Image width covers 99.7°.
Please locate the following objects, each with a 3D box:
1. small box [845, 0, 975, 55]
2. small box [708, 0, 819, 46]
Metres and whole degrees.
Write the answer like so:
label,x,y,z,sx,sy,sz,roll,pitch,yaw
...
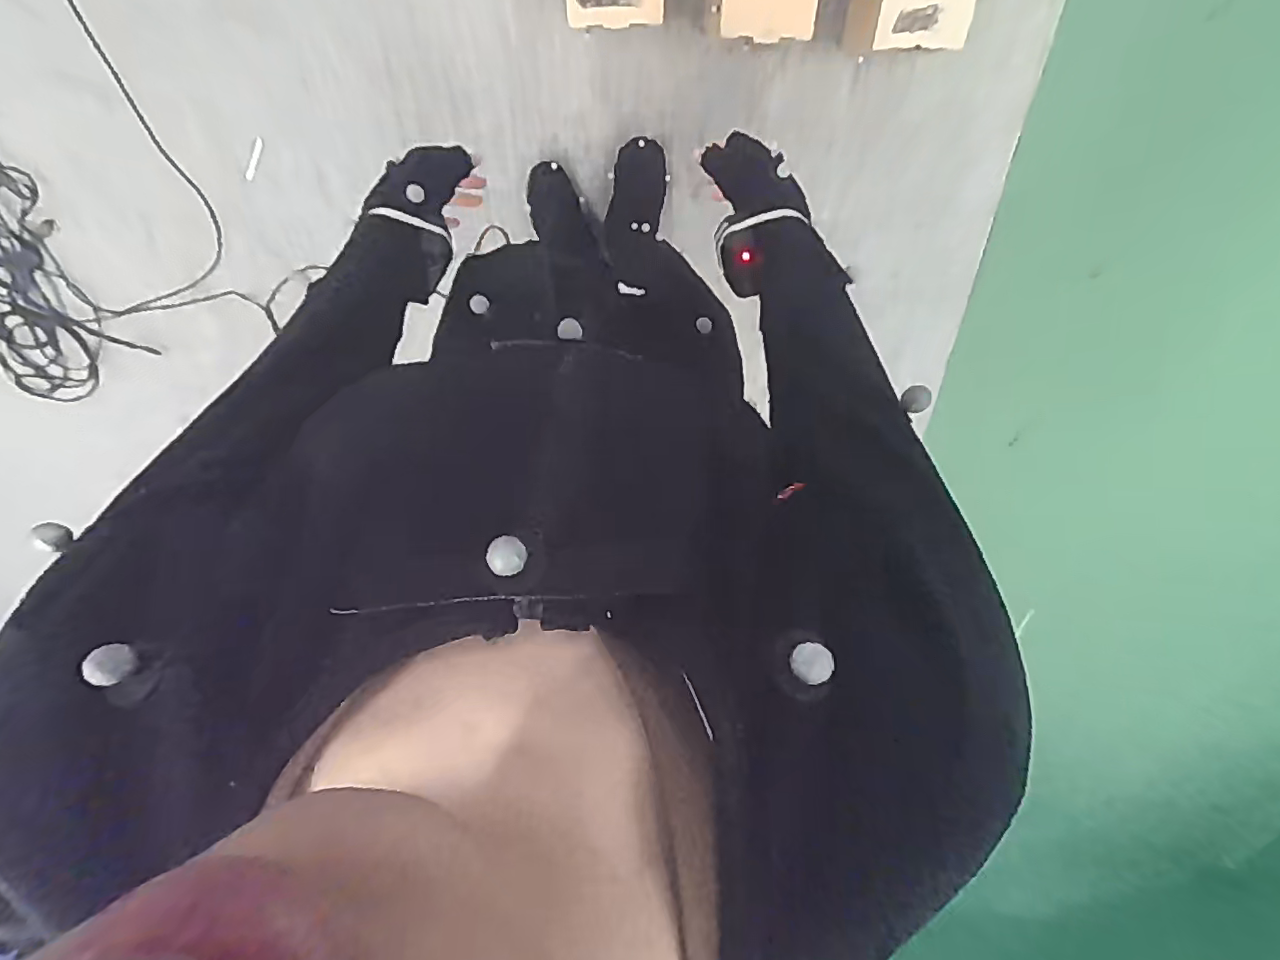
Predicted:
label,x,y,z,sx,sy,sz,roll,pitch,yaw
small box,0.488,-0.880,0.972,0.168,0.176,0.179,0,125,-2
small box,0.219,-0.888,0.956,0.168,0.176,0.179,0,126,-3
